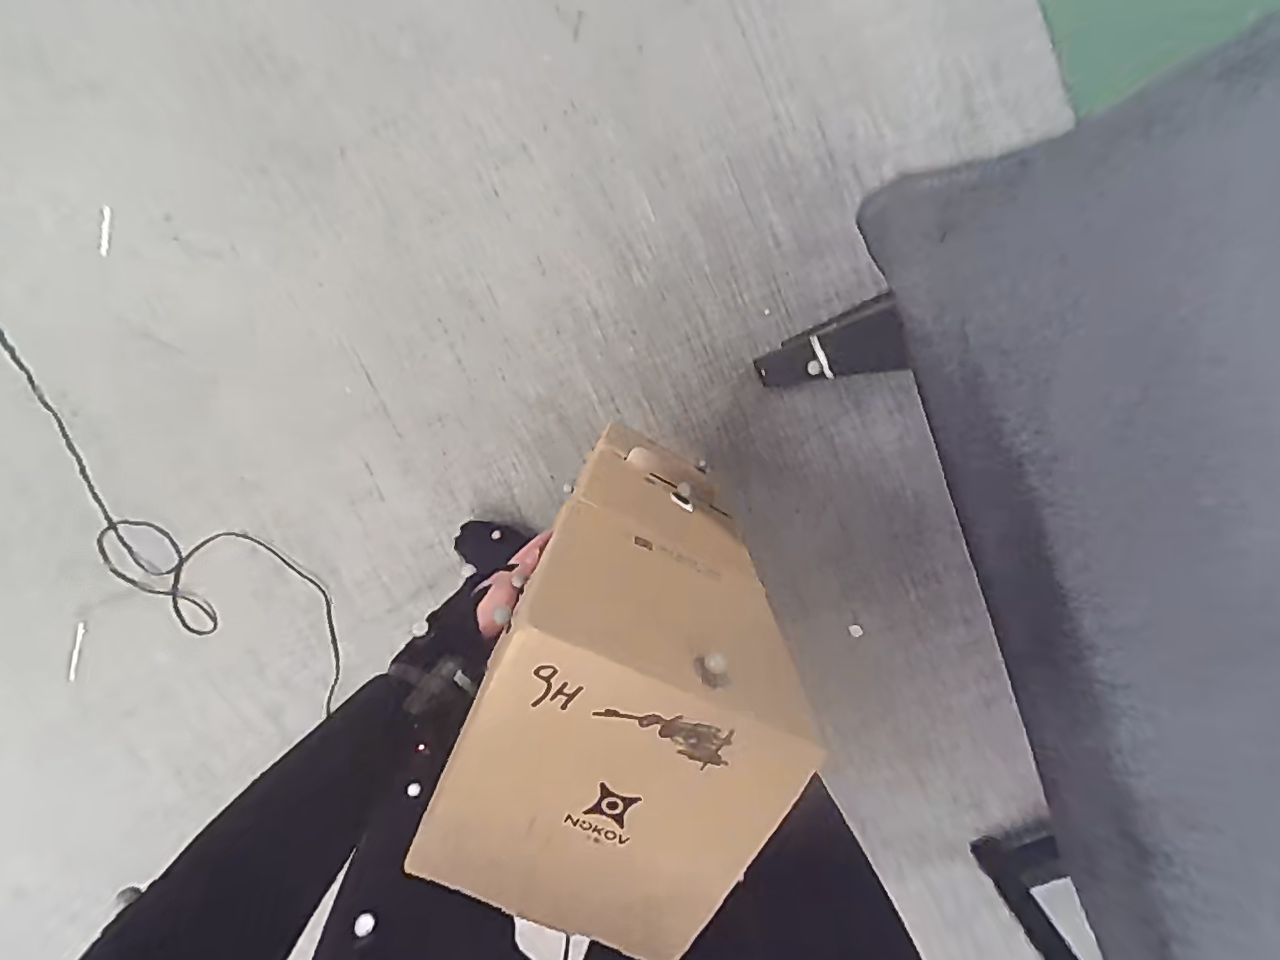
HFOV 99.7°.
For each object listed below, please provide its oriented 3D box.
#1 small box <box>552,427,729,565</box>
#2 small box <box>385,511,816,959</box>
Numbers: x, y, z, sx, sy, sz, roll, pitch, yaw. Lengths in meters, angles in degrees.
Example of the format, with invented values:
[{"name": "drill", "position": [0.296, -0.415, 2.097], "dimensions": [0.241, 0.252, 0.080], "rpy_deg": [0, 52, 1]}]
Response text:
[{"name": "small box", "position": [-0.016, 0.054, 0.653], "dimensions": [0.168, 0.176, 0.179], "rpy_deg": [27, 105, -6]}, {"name": "small box", "position": [-0.023, 0.148, 0.340], "dimensions": [0.168, 0.176, 0.179], "rpy_deg": [24, 107, -7]}]
